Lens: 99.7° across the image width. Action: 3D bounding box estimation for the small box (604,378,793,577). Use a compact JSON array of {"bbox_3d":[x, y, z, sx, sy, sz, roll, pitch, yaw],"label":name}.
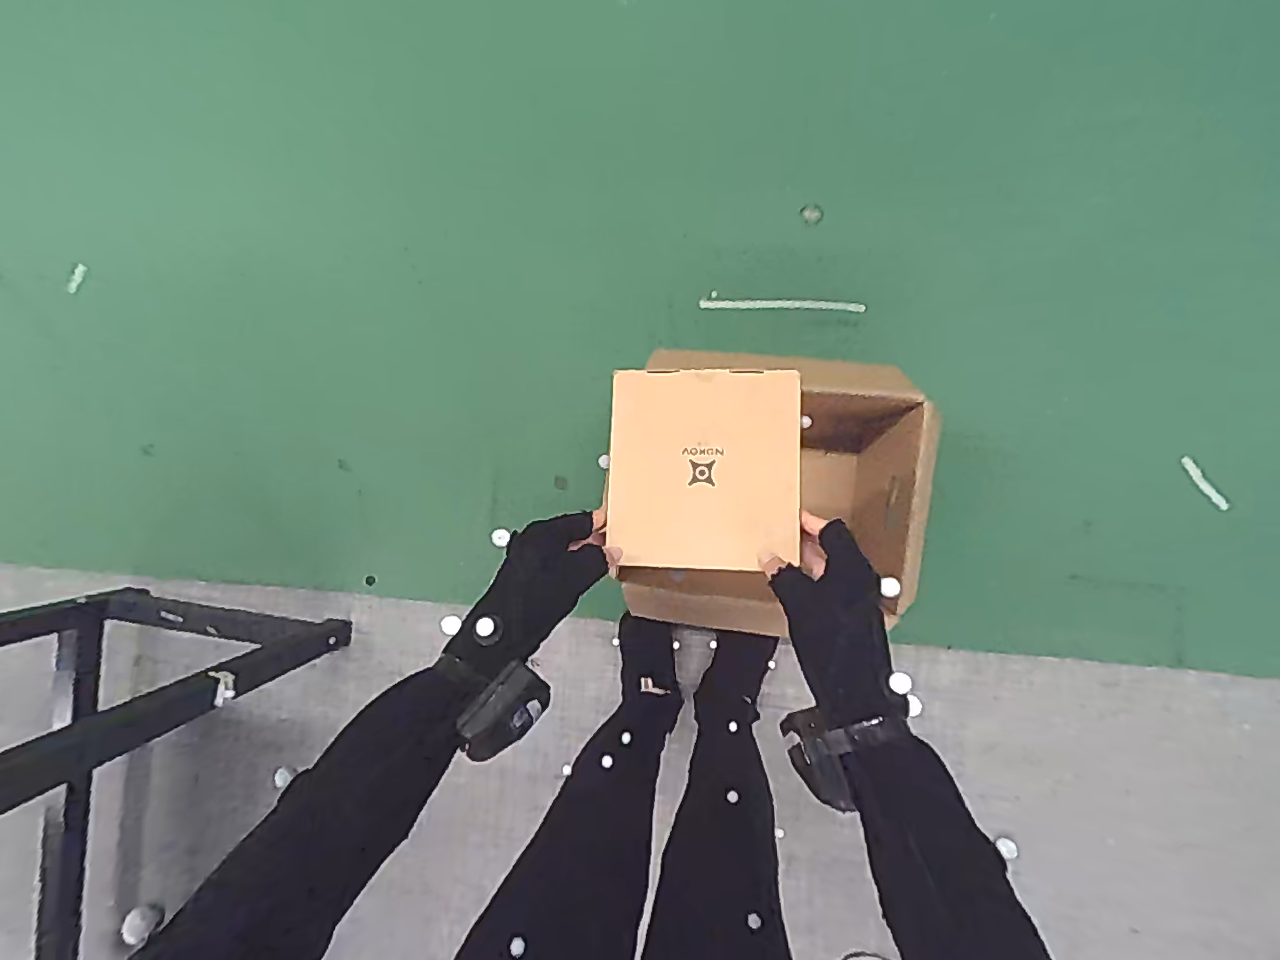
[{"bbox_3d":[0.062,0.005,0.556,0.168,0.176,0.179,1,82,7],"label":"small box"}]
